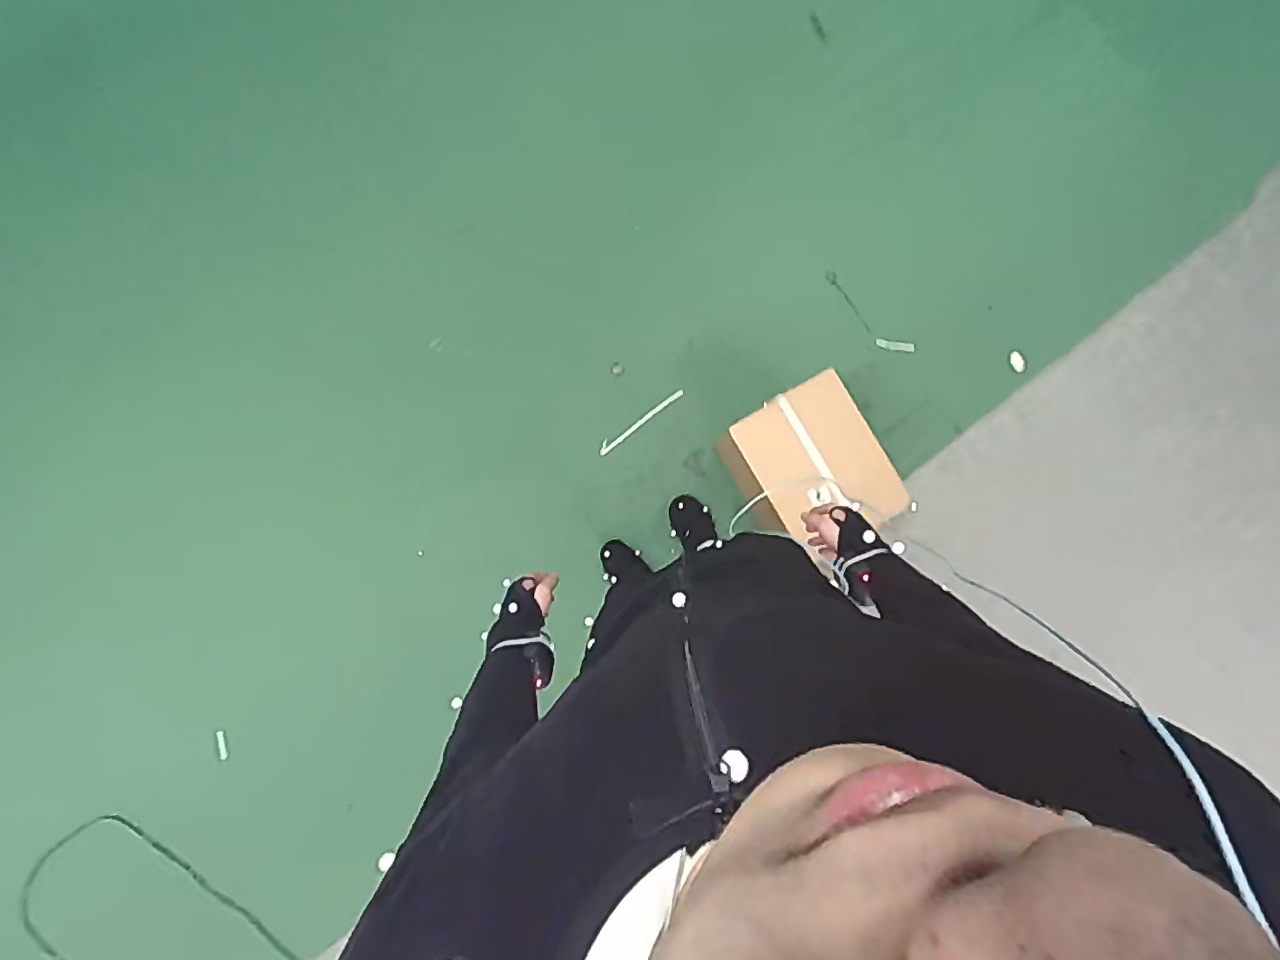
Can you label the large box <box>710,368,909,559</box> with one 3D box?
[{"bbox_3d":[0.445,-0.038,1.513,0.320,0.320,0.408,-31,88,-1],"label":"large box"}]
